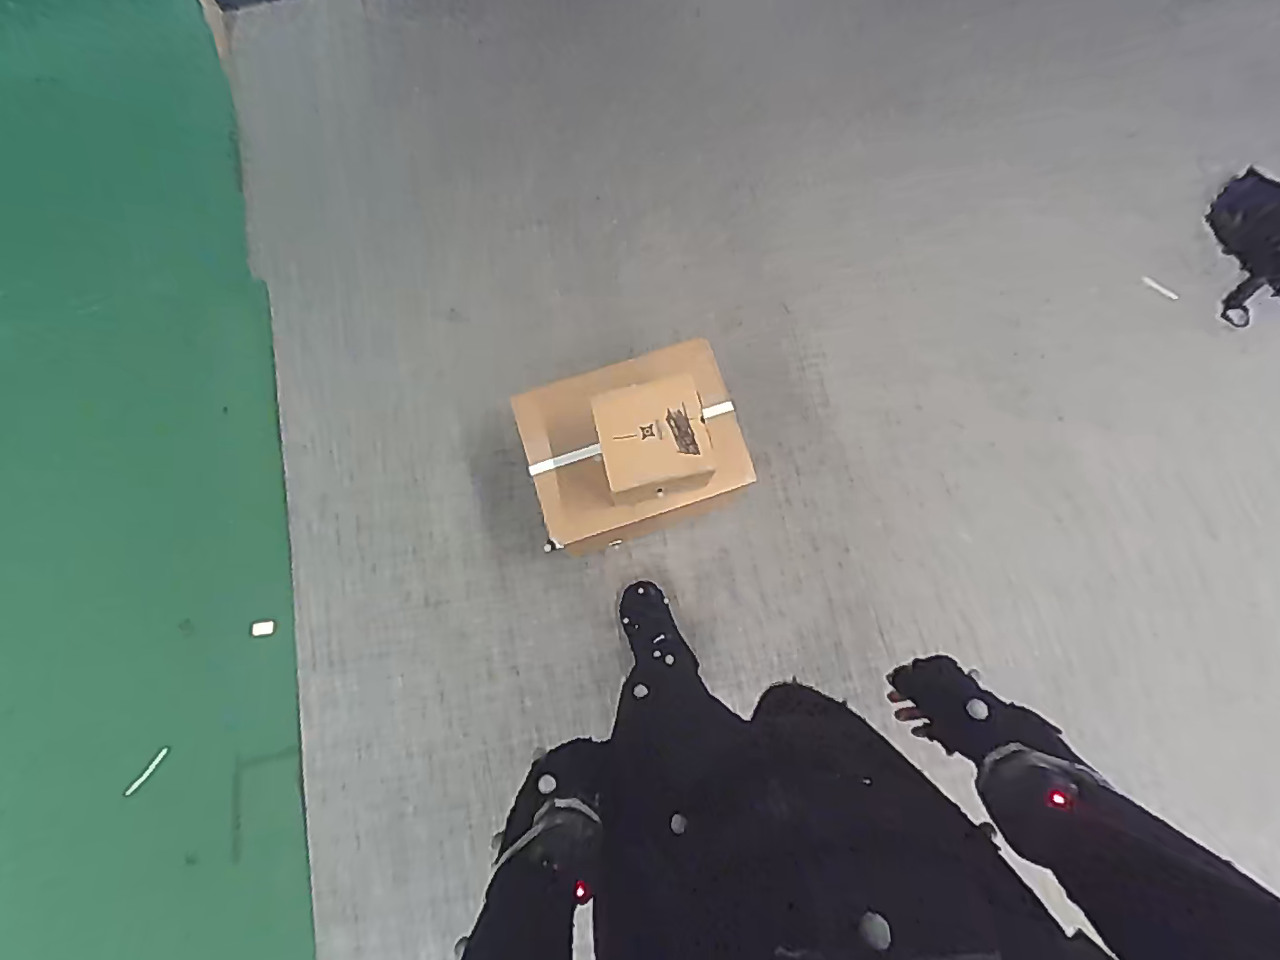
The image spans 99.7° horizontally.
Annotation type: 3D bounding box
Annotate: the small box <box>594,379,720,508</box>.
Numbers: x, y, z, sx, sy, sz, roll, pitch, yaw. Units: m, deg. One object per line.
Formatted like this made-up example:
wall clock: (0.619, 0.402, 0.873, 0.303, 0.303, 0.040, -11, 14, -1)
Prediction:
small box: (0.026, -0.056, 0.938, 0.179, 0.176, 0.168, -13, 79, -1)
